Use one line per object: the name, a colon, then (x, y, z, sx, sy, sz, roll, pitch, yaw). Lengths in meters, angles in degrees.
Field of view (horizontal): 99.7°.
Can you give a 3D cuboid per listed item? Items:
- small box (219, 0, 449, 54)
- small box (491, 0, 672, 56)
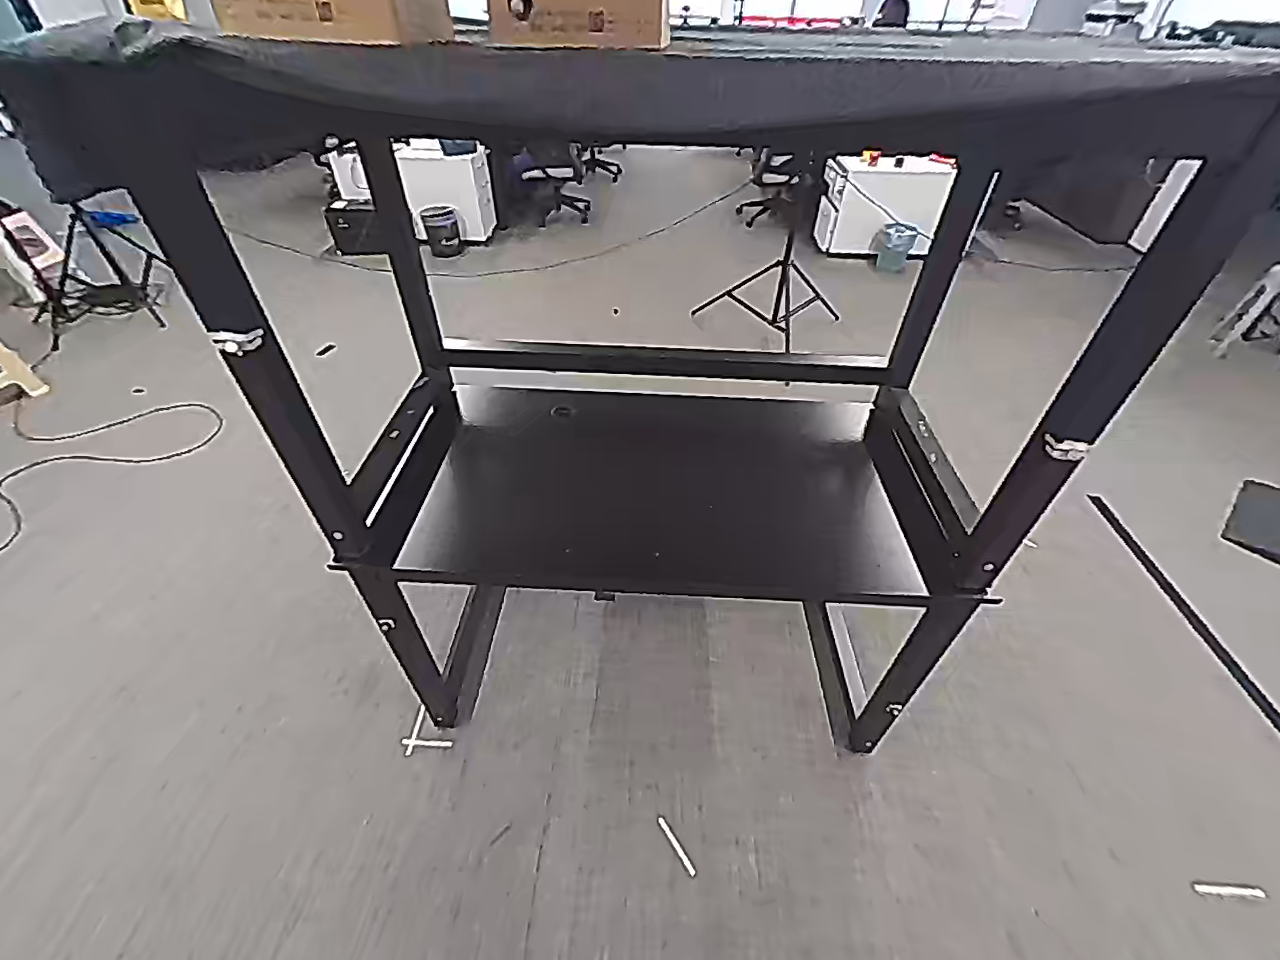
small box: (-0.295, -0.513, 0.511, 0.168, 0.176, 0.179, 3, 40, 0)
small box: (-0.052, -0.522, 0.525, 0.168, 0.176, 0.179, 4, 39, 3)
